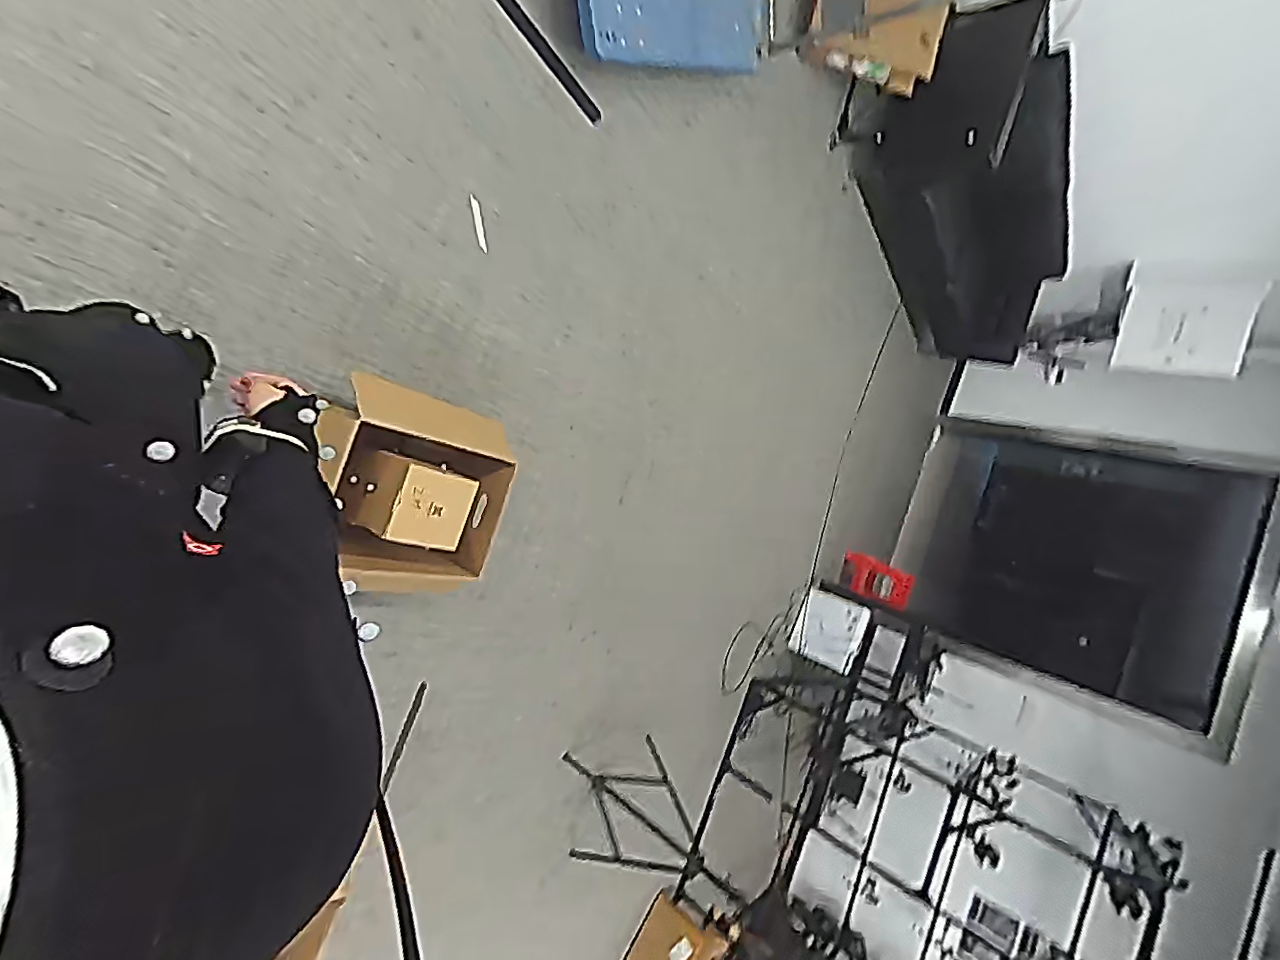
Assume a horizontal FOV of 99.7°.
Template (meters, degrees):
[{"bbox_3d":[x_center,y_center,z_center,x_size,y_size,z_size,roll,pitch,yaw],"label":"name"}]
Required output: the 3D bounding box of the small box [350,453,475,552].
[{"bbox_3d":[-0.515,0.049,1.223,0.179,0.176,0.168,23,85,-50],"label":"small box"}]
